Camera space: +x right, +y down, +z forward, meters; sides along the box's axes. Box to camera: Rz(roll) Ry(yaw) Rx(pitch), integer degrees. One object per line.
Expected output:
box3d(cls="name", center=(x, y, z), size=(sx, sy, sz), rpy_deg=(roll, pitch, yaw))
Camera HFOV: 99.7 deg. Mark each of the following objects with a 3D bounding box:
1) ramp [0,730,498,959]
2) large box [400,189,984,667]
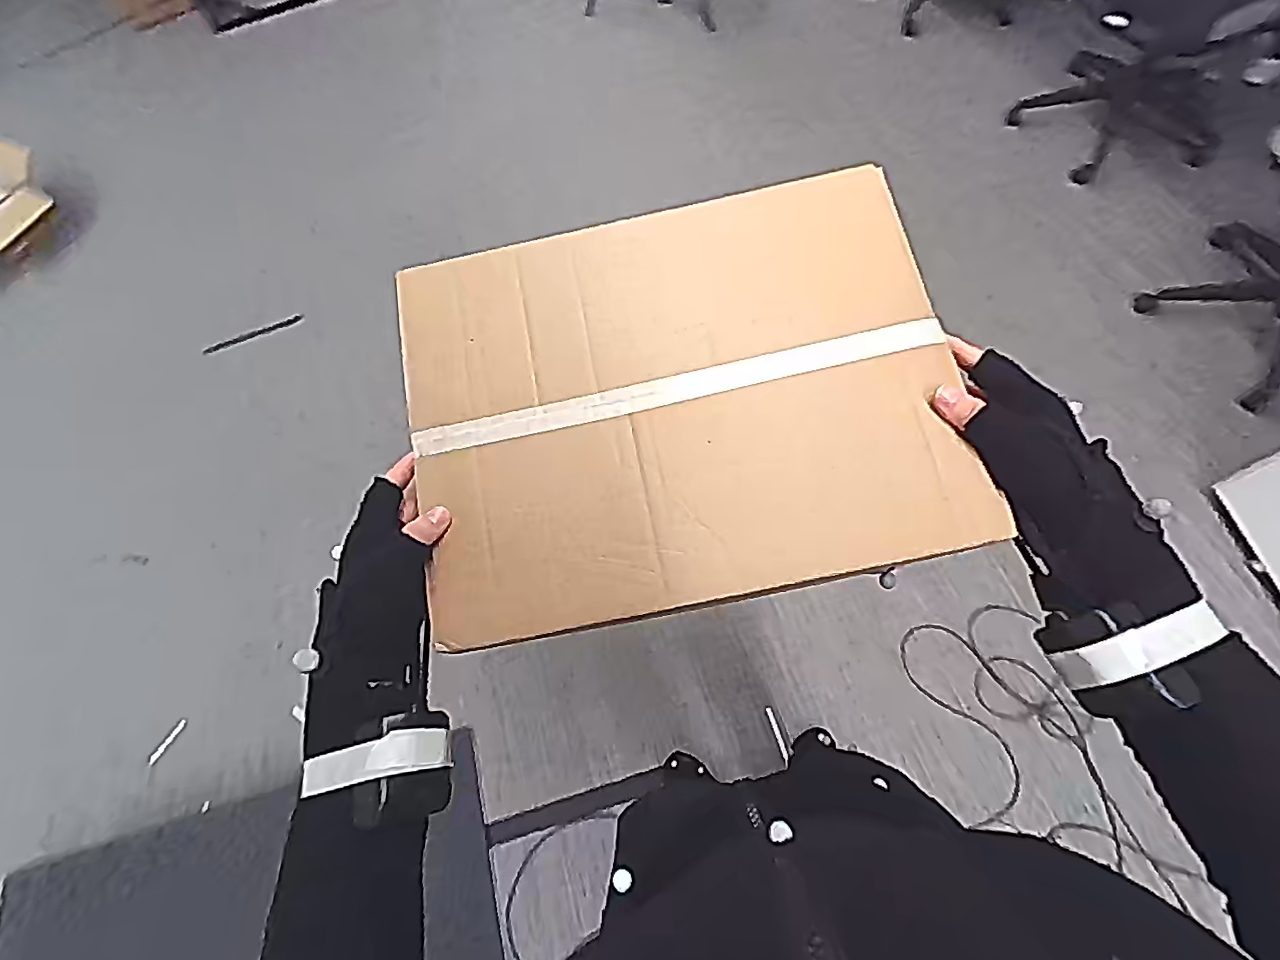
box3d(cls="ramp", center=(-0.847, 0.946, 1.174), size=(0.991, 0.206, 0.509), rpy_deg=(-19, 63, -2))
box3d(cls="large box", center=(0.032, -0.022, 0.562), size=(0.408, 0.320, 0.320), rpy_deg=(-13, 75, 1))
